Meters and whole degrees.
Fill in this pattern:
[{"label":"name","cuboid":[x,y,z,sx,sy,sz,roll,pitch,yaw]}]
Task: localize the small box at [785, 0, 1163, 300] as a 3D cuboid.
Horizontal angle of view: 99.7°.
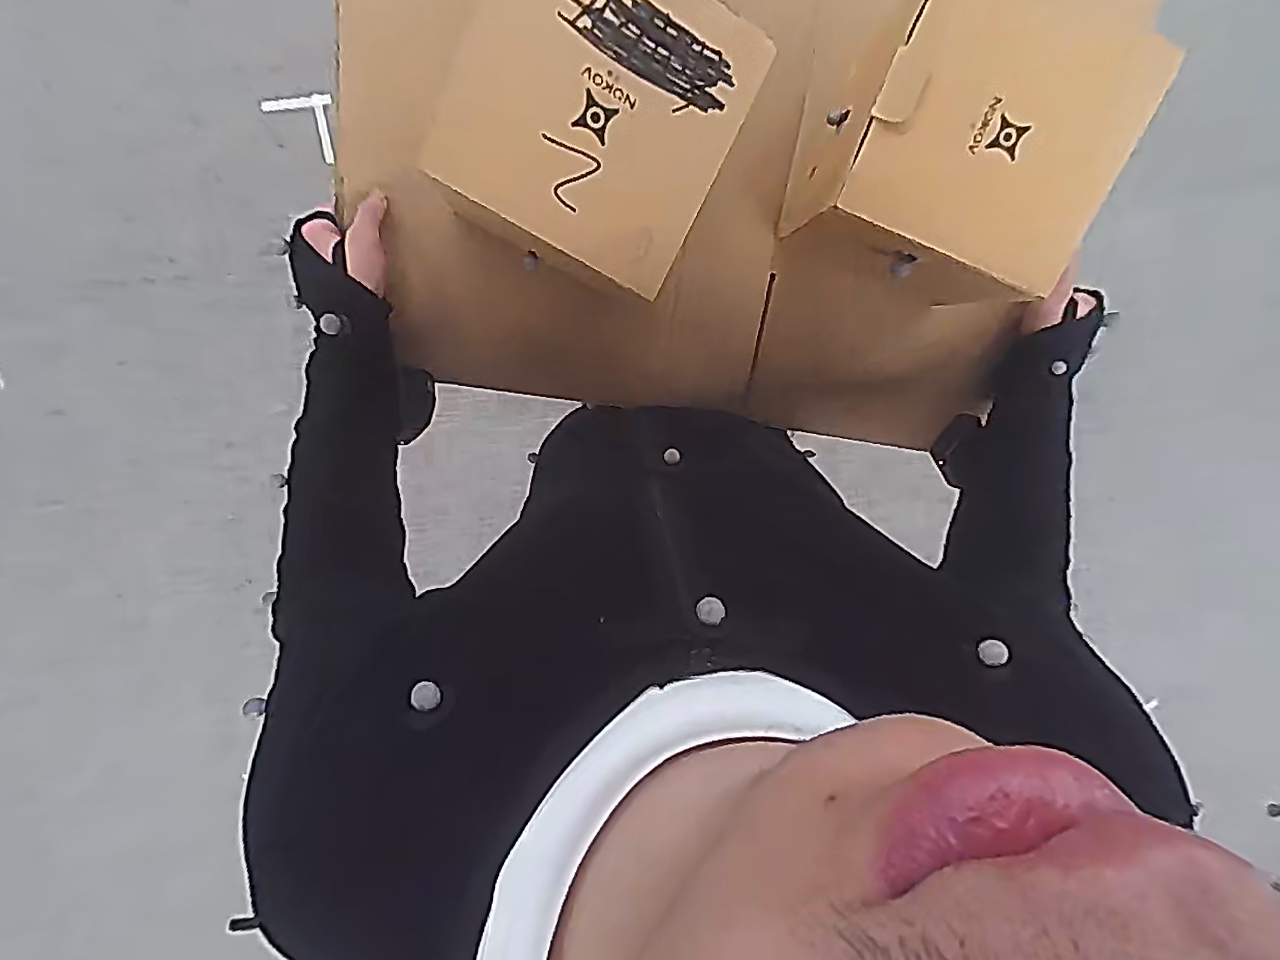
[{"label":"small box","cuboid":[0.250,-0.264,0.458,0.179,0.176,0.168,21,106,-4]}]
